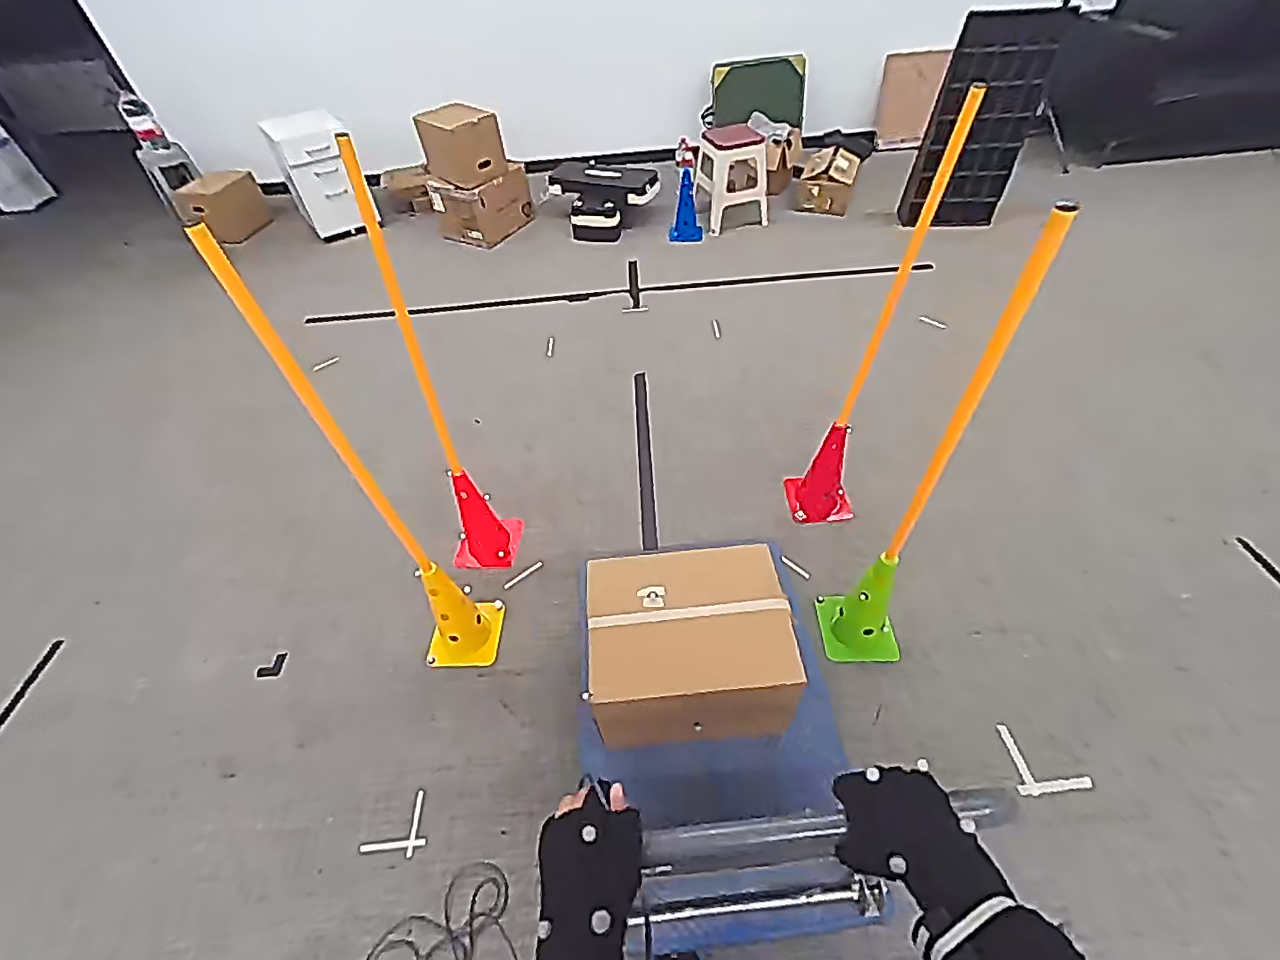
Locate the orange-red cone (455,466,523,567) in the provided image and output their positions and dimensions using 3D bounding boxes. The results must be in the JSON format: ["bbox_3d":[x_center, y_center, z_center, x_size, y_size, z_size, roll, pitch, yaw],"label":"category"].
[{"bbox_3d":[-0.516,0.091,1.705,0.198,0.360,0.199,2,47,5],"label":"orange-red cone"}]

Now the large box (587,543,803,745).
[{"bbox_3d":[0.106,0.371,1.209,0.408,0.320,0.320,-6,48,0],"label":"large box"}]

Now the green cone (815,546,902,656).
[{"bbox_3d":[0.611,0.297,1.428,0.202,0.368,0.200,-1,48,2],"label":"green cone"}]

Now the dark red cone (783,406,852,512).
[{"bbox_3d":[0.605,-0.076,1.738,0.201,0.394,0.202,-3,49,-1],"label":"dark red cone"}]
